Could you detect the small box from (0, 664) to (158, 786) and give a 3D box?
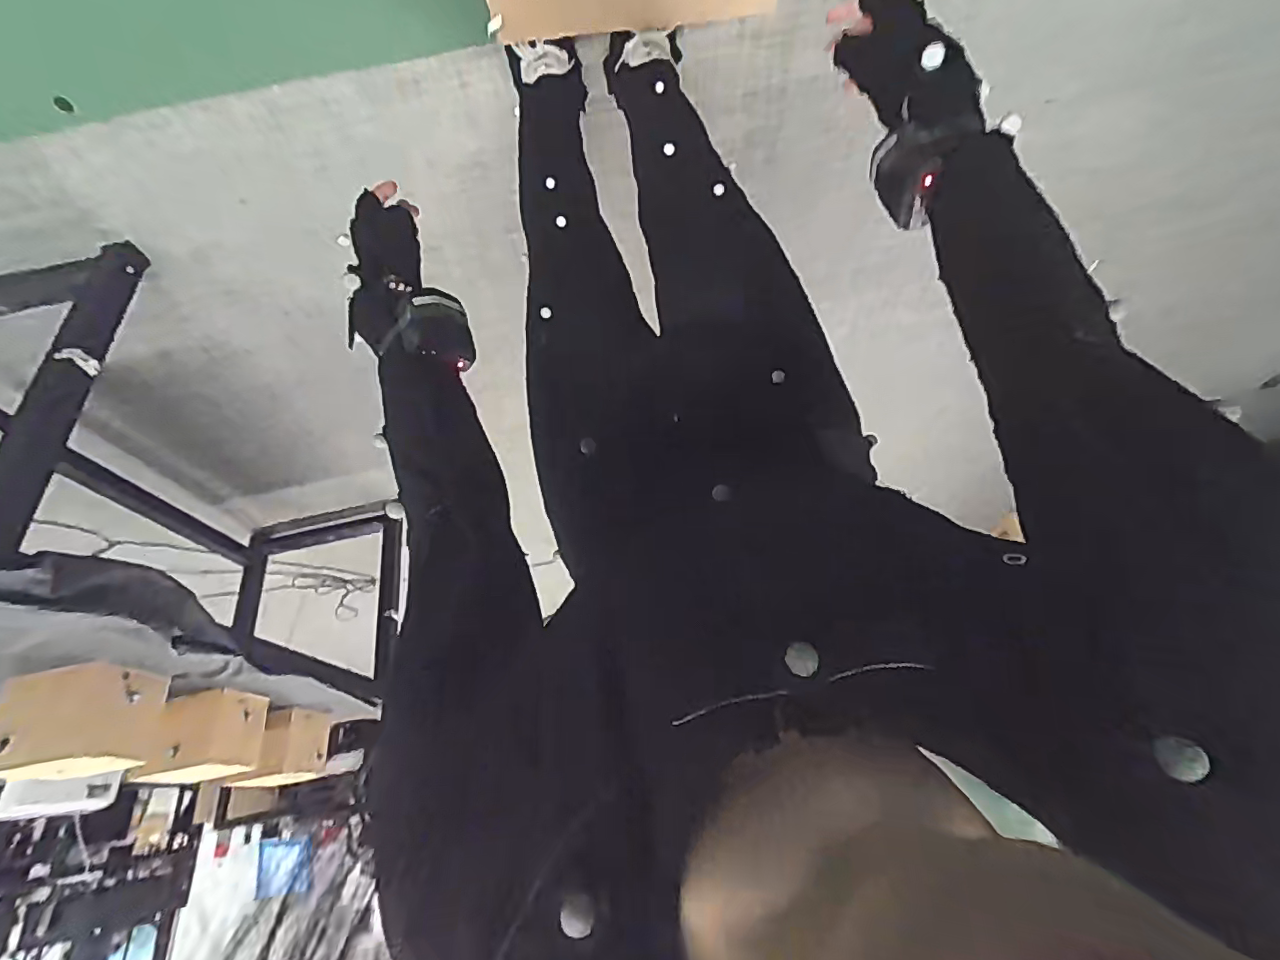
[{"bbox_3d":[-1.064,0.459,1.009,0.179,0.176,0.168,-11,150,-2],"label":"small box"}]

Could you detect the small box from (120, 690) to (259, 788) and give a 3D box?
[{"bbox_3d":[-1.039,0.607,1.267,0.179,0.176,0.168,-12,149,-2],"label":"small box"}]
